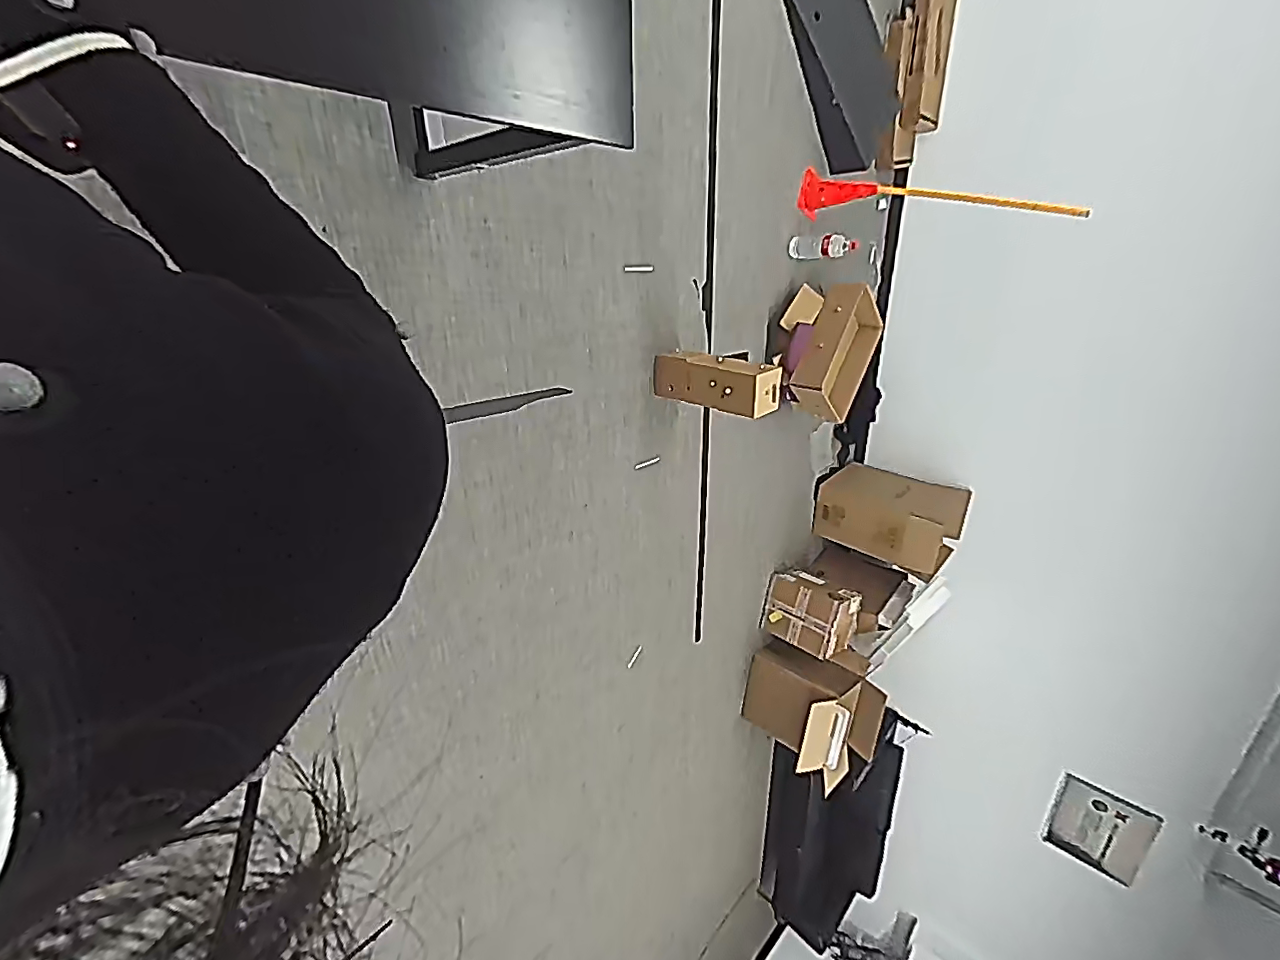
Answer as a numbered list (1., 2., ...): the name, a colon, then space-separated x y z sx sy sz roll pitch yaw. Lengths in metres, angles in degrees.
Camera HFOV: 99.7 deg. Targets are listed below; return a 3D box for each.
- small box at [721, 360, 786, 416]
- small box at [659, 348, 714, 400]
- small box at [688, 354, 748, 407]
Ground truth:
1. small box: 0.428 -0.355 2.048 0.179 0.176 0.168 -24 122 -40
2. small box: 0.192 -0.446 2.258 0.168 0.176 0.179 -23 120 -42
3. small box: 0.309 -0.402 2.152 0.179 0.176 0.168 -25 123 -41
